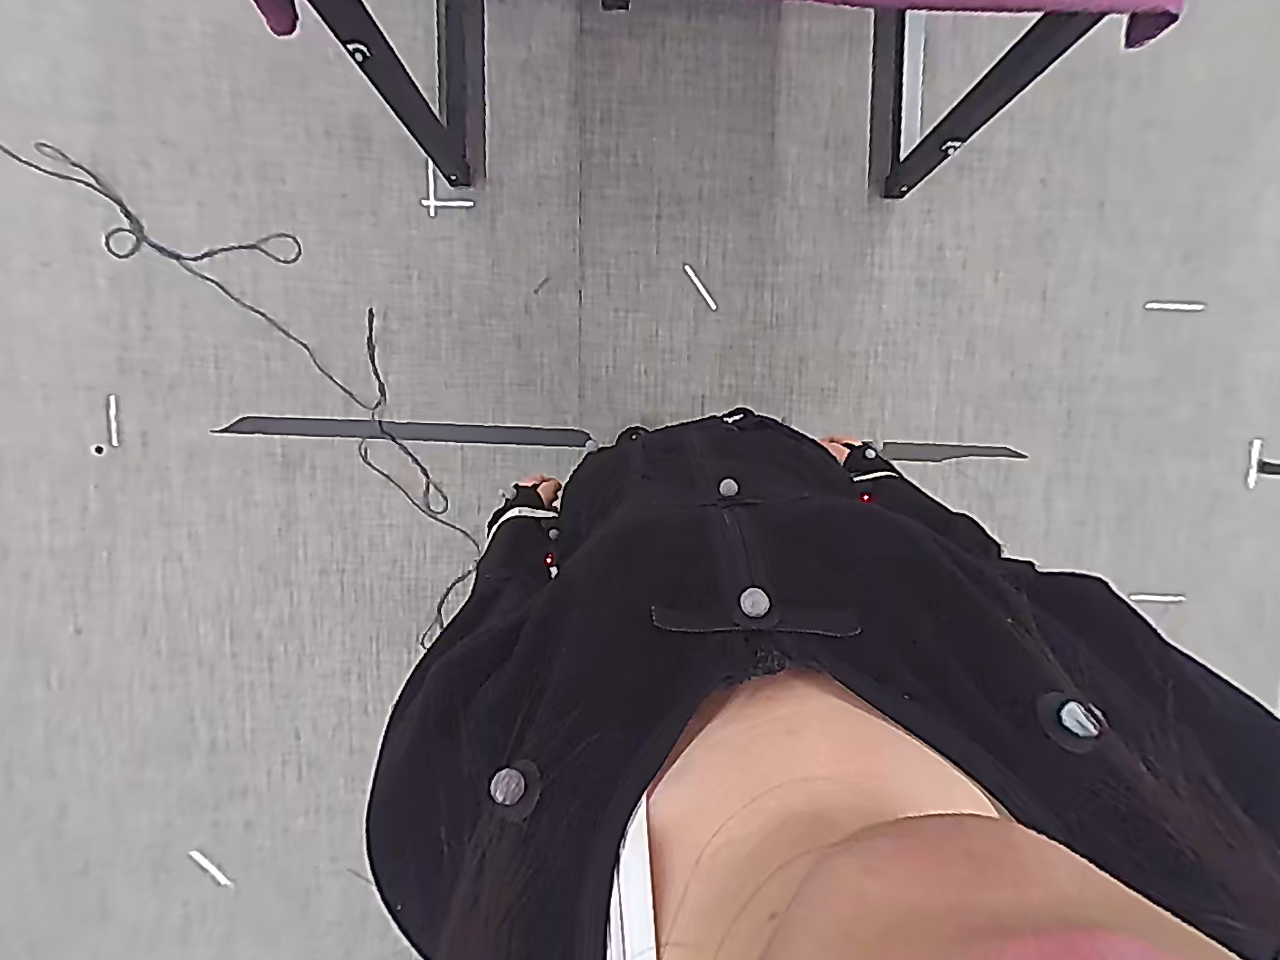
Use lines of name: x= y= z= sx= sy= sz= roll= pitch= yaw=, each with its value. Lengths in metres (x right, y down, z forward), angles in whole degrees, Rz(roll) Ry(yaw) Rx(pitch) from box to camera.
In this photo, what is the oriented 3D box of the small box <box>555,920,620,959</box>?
small box: x=-0.142 y=1.369 z=1.491 sx=0.168 sy=0.176 sz=0.179 roll=-5 pitch=96 yaw=-1
